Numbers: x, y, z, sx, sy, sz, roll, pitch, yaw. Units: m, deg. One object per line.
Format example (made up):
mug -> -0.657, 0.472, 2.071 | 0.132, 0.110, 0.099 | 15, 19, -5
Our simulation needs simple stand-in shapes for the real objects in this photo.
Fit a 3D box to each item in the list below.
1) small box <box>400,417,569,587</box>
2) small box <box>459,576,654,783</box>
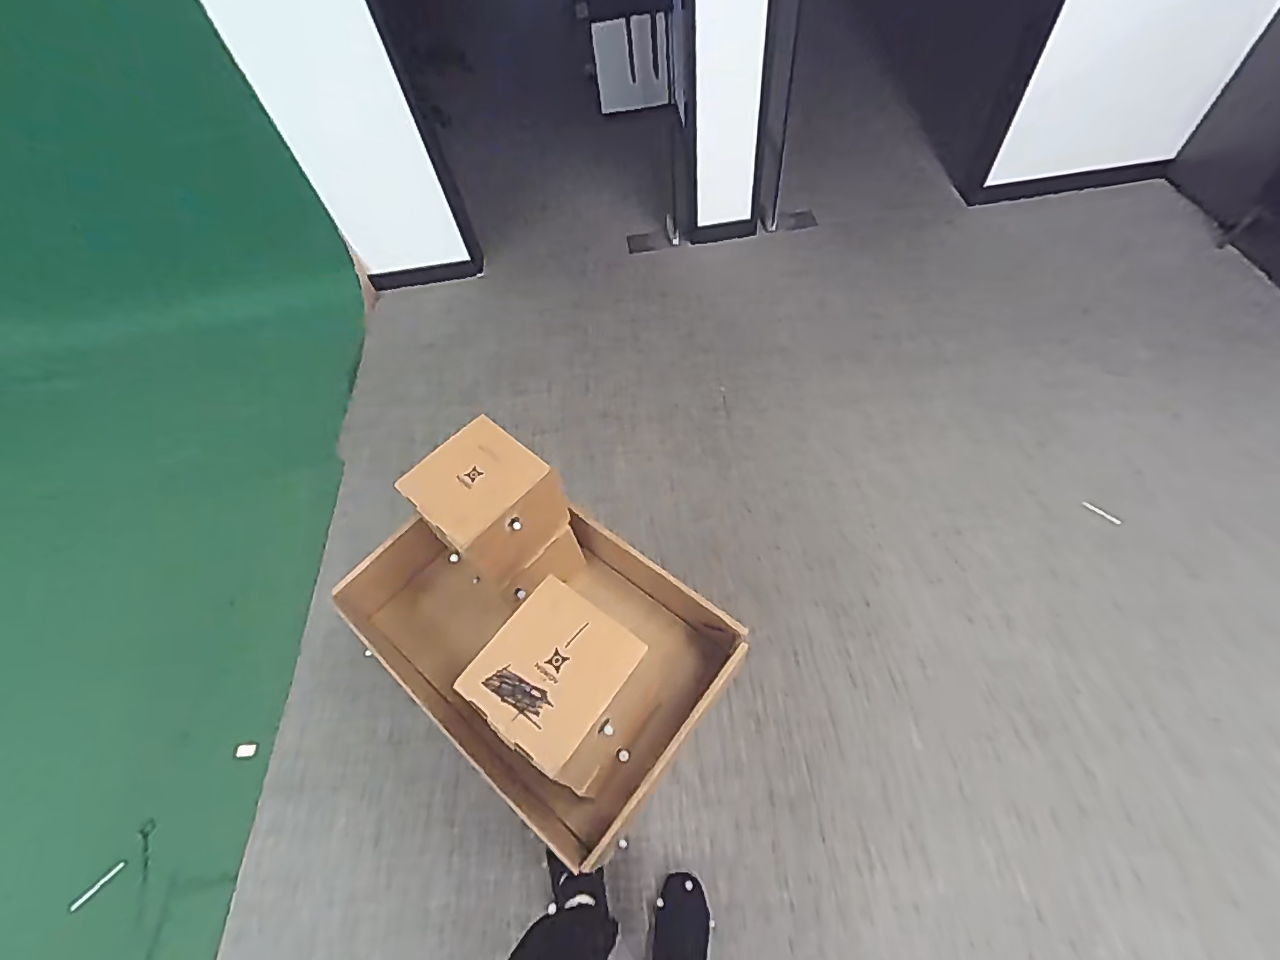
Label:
small box -> -0.236, 0.040, 0.866 | 0.168, 0.176, 0.179 | 37, 67, 24
small box -> -0.093, 0.265, 0.706 | 0.168, 0.176, 0.179 | 31, 65, 23
